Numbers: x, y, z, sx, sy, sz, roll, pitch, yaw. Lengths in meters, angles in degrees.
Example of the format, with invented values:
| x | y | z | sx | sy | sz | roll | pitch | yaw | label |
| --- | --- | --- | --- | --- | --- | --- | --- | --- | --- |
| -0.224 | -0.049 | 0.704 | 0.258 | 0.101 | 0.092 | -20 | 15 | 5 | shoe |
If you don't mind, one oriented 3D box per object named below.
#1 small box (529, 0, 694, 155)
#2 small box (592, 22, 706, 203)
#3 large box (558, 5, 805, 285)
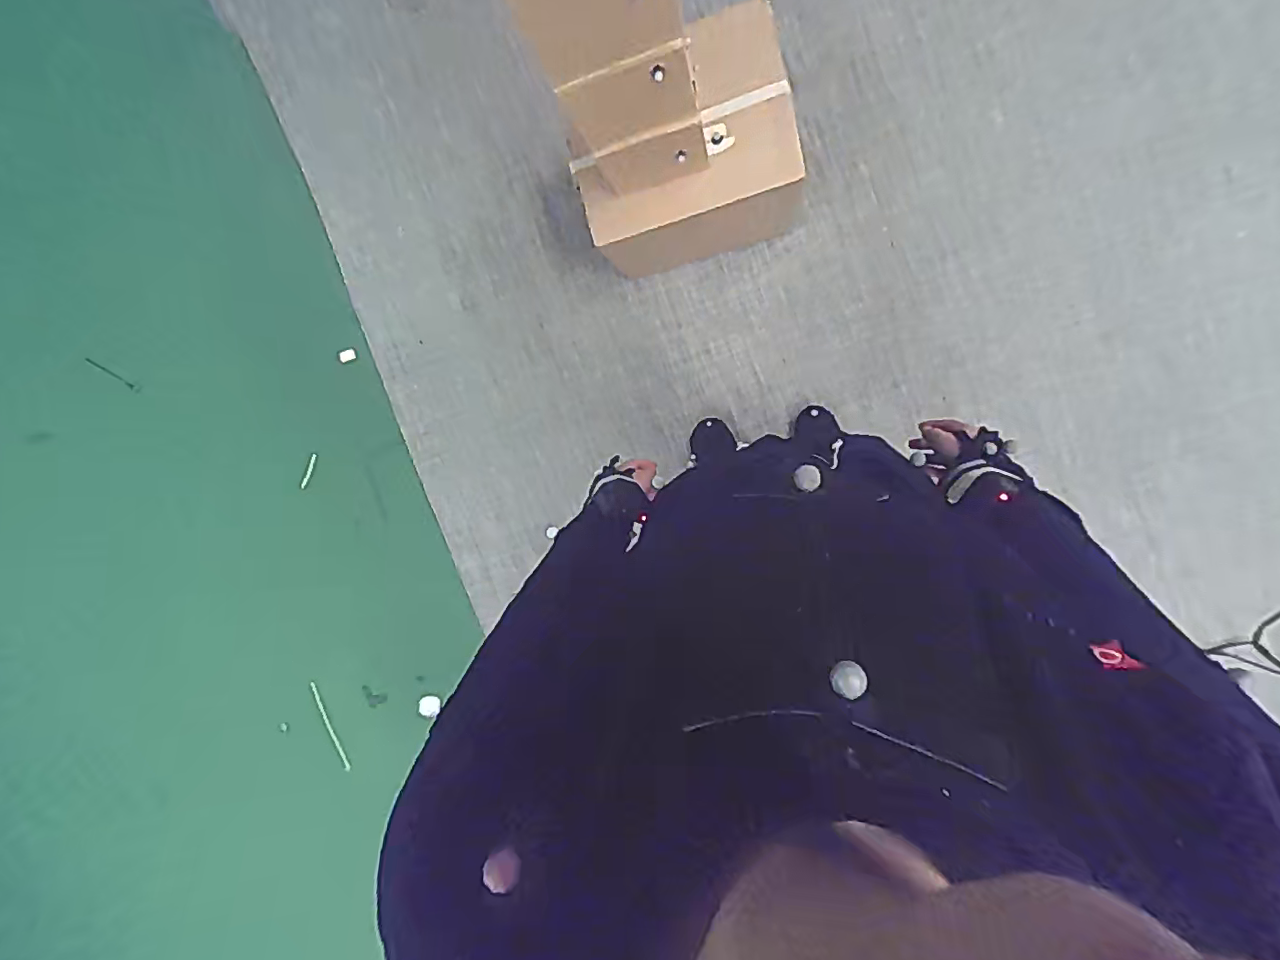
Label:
| x | y | z | sx | sy | sz | roll | pitch | yaw | label |
| --- | --- | --- | --- | --- | --- | --- | --- | --- | --- |
| -0.032 | -0.591 | 0.749 | 0.179 | 0.176 | 0.168 | -13 | 94 | 12 | small box |
| 0.009 | -0.599 | 0.907 | 0.179 | 0.176 | 0.168 | -12 | 94 | 14 | small box |
| 0.094 | -0.648 | 1.132 | 0.408 | 0.320 | 0.320 | -14 | 96 | 12 | large box |
